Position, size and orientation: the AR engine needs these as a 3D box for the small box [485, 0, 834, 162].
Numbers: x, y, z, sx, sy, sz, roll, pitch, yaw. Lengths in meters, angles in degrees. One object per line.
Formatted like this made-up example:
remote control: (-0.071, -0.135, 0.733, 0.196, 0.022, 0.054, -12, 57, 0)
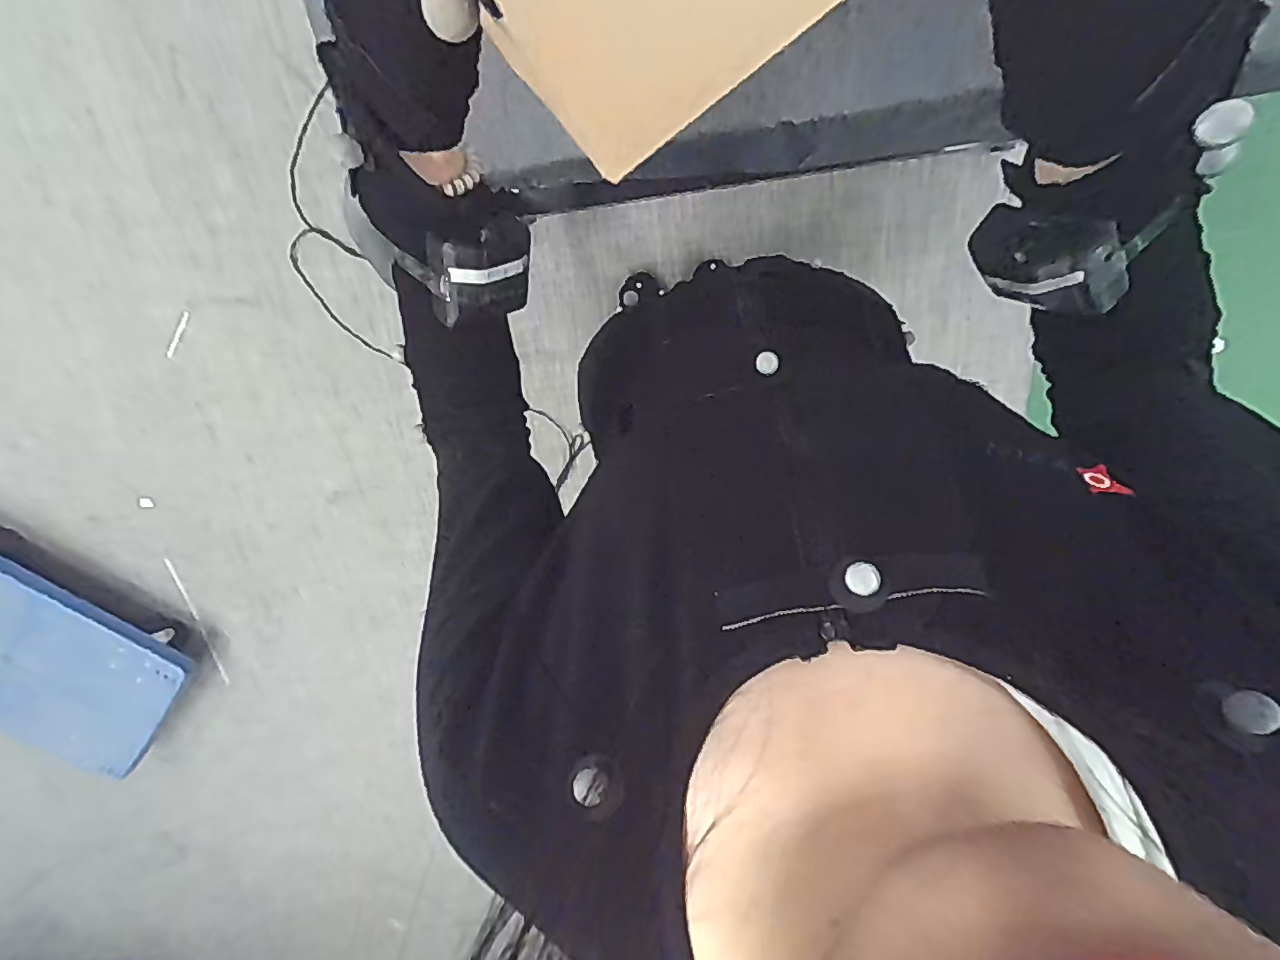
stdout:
small box: (-0.008, -0.232, 0.124, 0.168, 0.176, 0.179, -33, 149, 9)
